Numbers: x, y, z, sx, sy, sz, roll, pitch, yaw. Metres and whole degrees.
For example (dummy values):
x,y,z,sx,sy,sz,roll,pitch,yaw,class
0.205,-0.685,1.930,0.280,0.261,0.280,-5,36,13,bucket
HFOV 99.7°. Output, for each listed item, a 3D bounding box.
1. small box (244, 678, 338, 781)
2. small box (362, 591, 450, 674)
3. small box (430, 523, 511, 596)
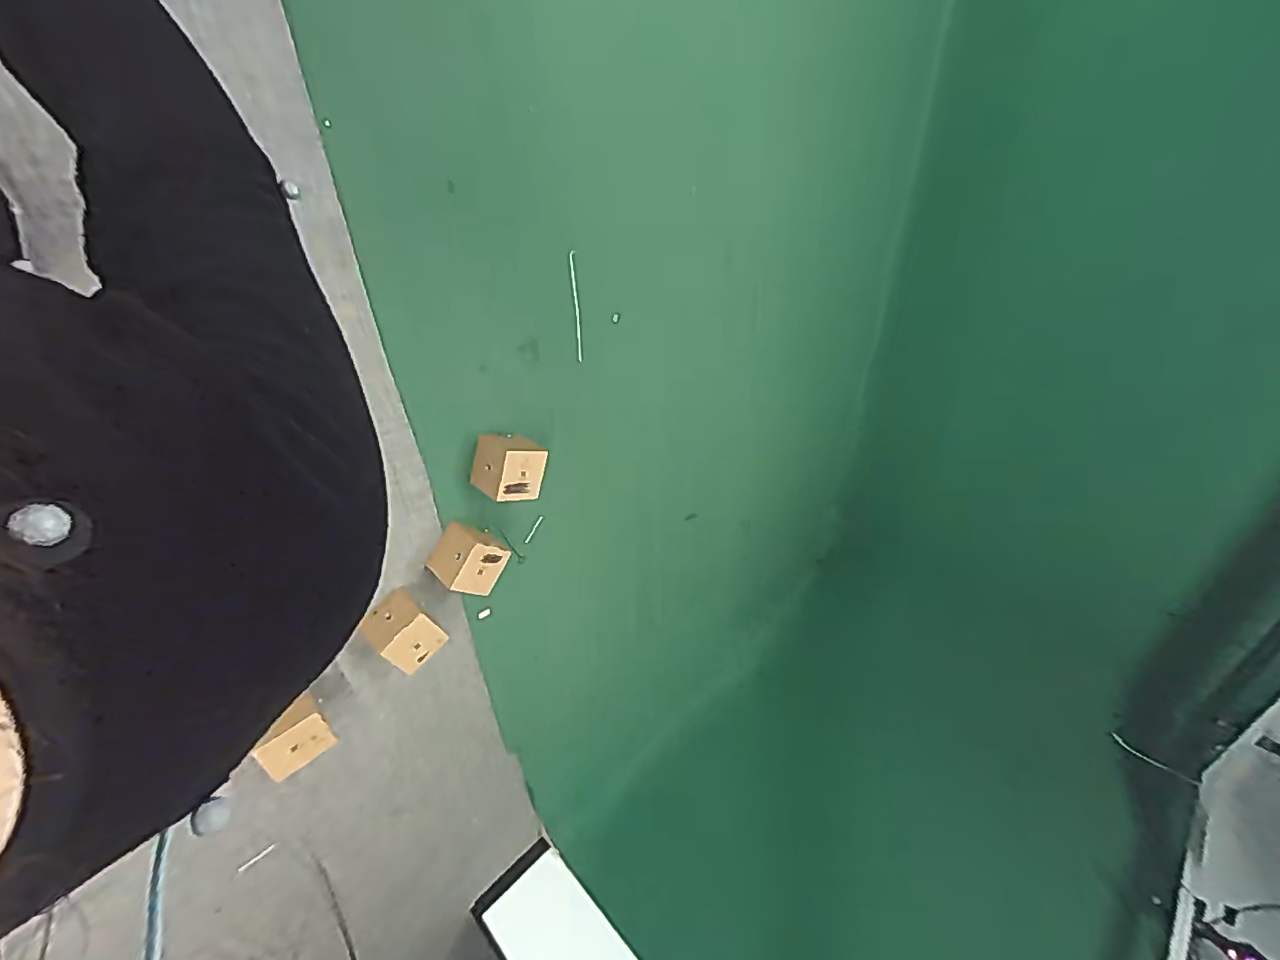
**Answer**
x,y,z,sx,sy,sz,roll,pitch,yaw,class
-1.037,0.732,1.600,0.179,0.176,0.168,-31,134,-33,small box
-0.765,0.490,1.762,0.168,0.176,0.179,-44,139,-21,small box
-0.579,0.267,1.835,0.168,0.176,0.179,30,90,-53,small box
